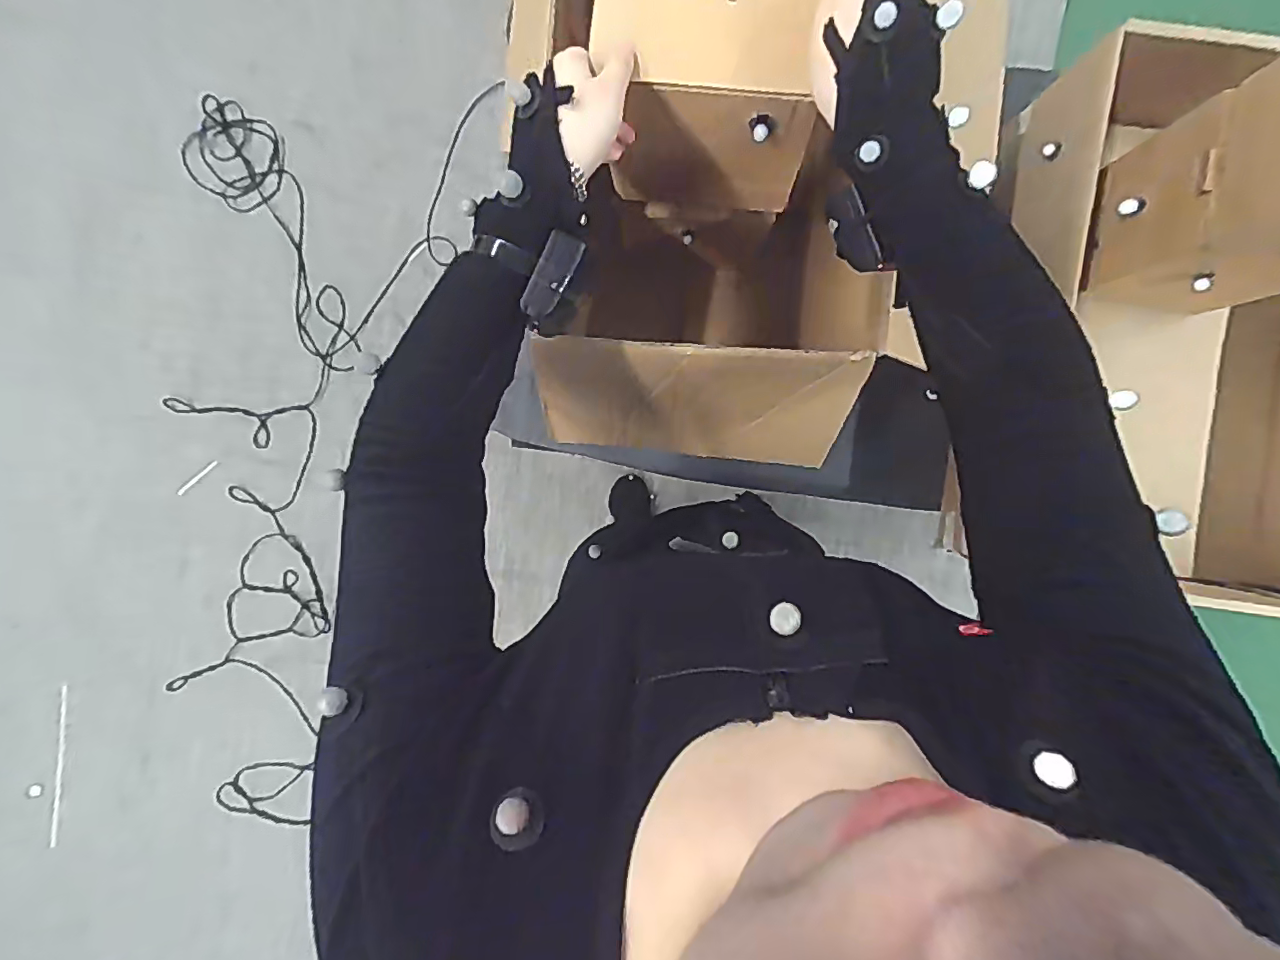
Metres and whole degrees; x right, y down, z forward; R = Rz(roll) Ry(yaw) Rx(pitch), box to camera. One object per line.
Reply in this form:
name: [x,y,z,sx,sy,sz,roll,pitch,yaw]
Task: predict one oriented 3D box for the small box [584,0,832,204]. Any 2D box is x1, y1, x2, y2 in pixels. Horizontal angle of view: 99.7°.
small box: [0.060,-0.365,0.471,0.179,0.176,0.168,7,91,4]
